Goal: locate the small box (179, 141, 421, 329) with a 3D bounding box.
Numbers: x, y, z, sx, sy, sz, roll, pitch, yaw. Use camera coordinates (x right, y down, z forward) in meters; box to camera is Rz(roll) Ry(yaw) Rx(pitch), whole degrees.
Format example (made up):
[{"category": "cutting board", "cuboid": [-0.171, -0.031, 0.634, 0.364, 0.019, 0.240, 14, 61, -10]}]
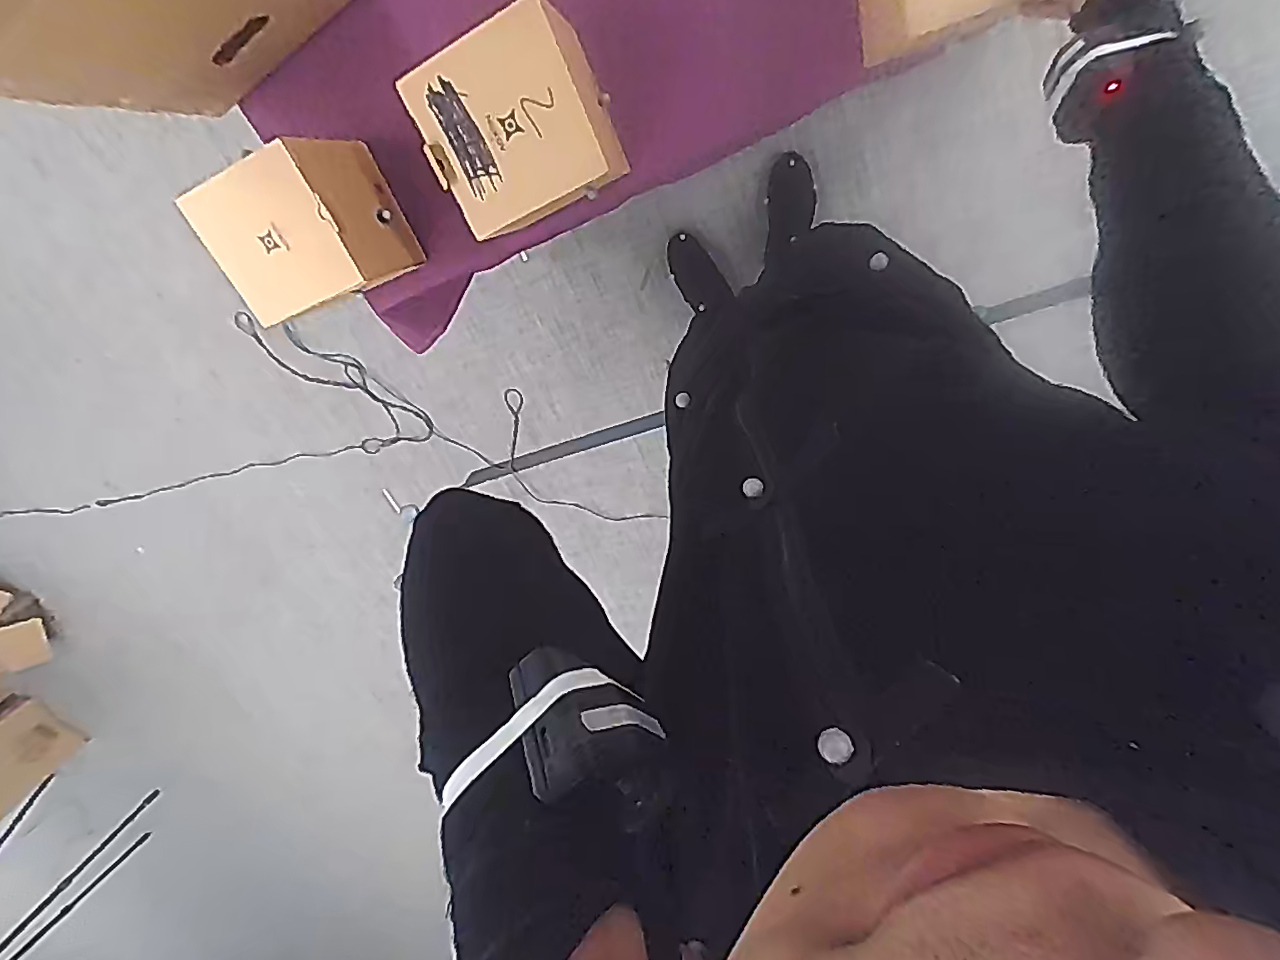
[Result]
[{"category": "small box", "cuboid": [-0.437, -0.326, 0.727, 0.179, 0.176, 0.168, -17, 116, 16]}]
